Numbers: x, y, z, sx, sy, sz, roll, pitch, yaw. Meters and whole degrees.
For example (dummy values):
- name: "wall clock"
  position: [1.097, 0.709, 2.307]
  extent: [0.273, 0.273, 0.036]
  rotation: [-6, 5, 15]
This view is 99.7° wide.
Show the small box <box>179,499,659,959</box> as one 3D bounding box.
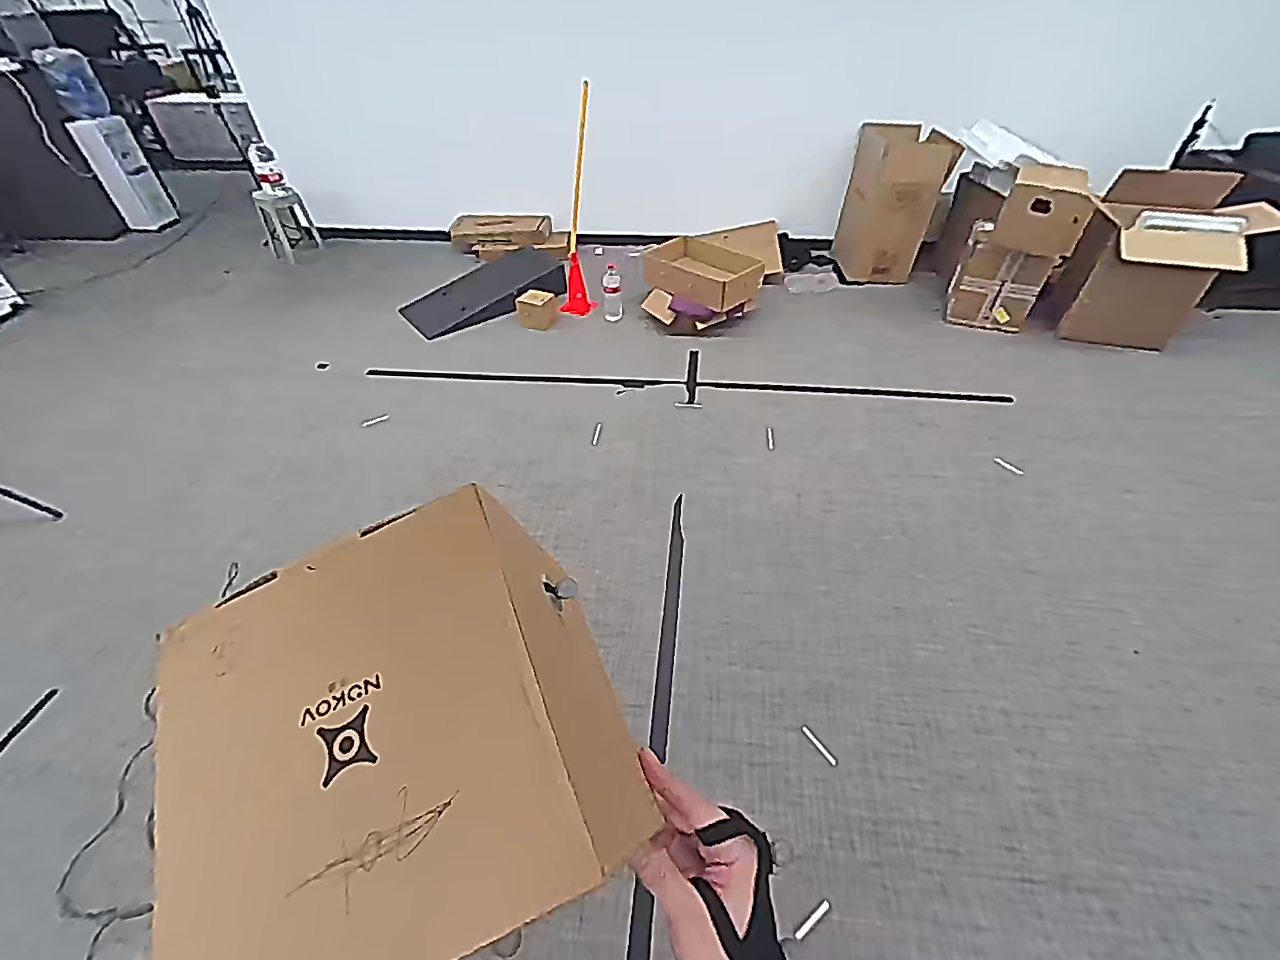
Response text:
- name: "small box"
  position: [-0.104, 0.145, 0.302]
  extent: [0.168, 0.176, 0.179]
  rotation: [-27, 63, -2]
